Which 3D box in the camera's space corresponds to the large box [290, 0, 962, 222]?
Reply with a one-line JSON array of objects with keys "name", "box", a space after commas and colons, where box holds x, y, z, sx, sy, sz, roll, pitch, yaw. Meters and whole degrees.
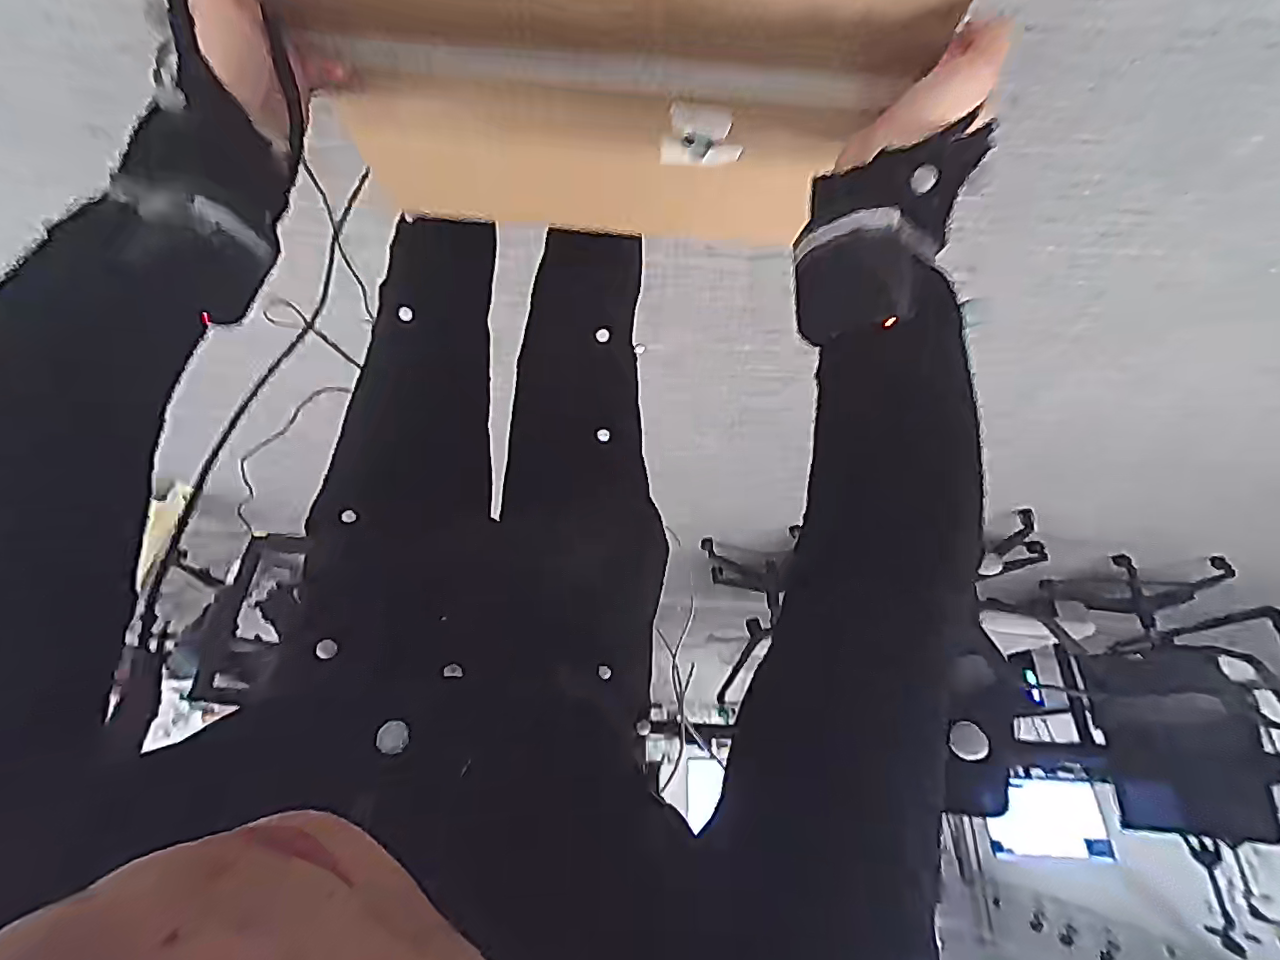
[{"name": "large box", "box": [-0.007, -0.421, 0.364, 0.408, 0.320, 0.320, 5, 167, 1]}]
